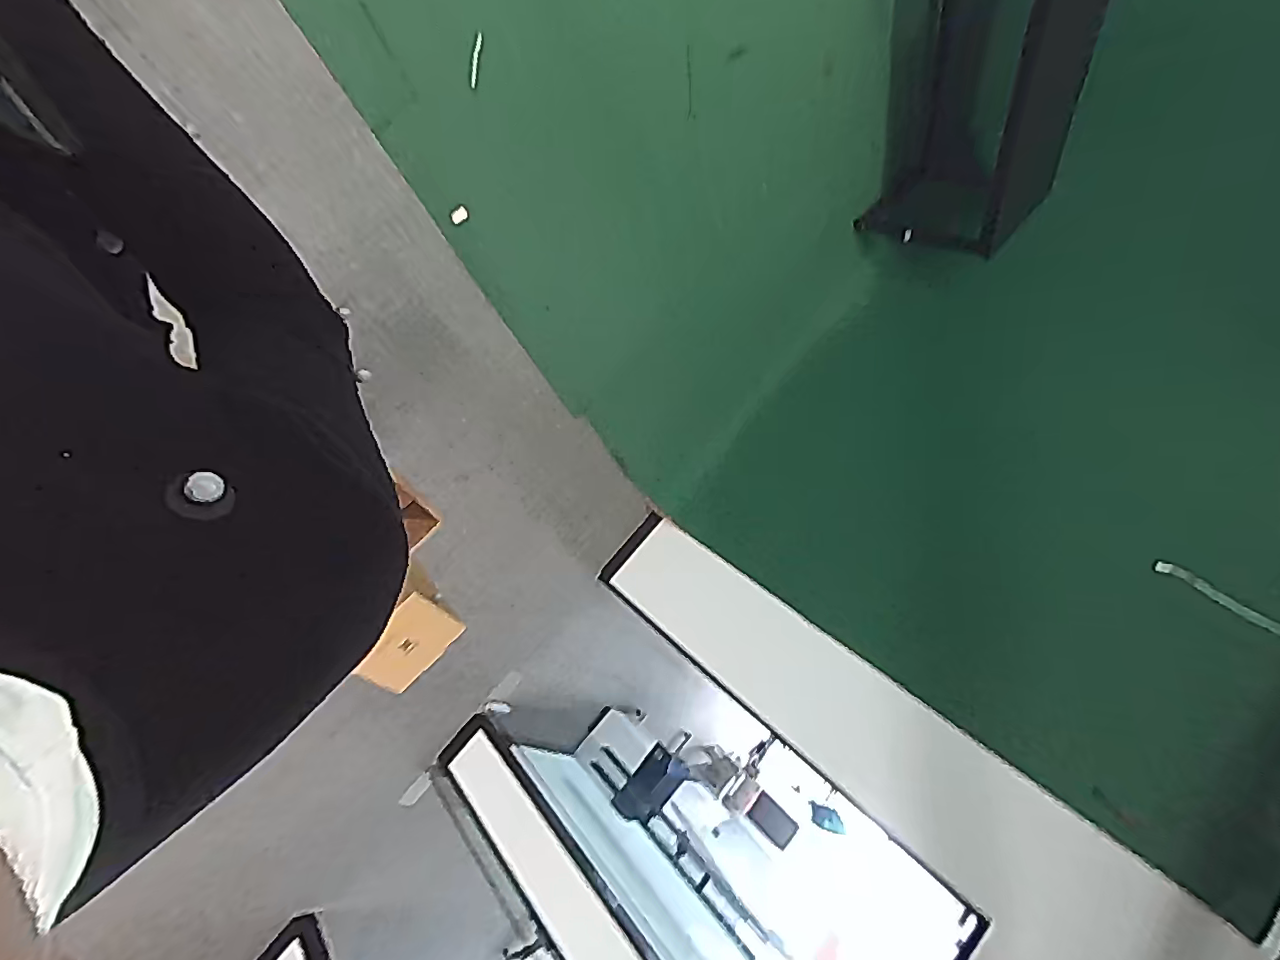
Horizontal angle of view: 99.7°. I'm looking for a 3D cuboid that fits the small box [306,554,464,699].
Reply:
[{"bbox_3d":[-0.468,0.265,0.999,0.168,0.176,0.179,-45,143,-15],"label":"small box"}]
